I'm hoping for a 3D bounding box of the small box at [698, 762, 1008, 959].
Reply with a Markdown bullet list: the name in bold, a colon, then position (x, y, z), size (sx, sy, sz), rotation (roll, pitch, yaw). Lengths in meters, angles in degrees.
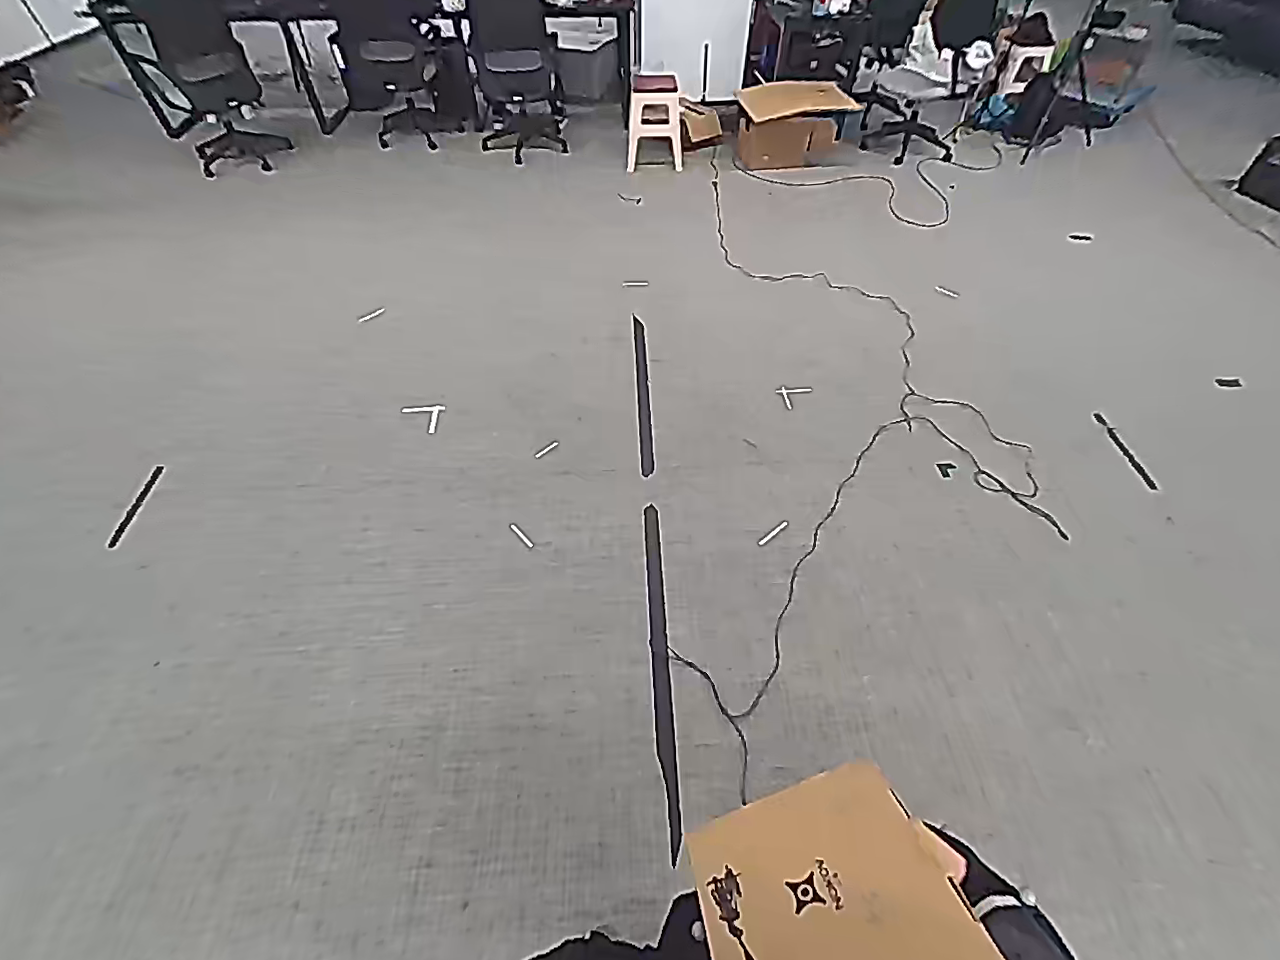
- **small box**: position (0.165, 0.373, 0.425), size (0.179, 0.176, 0.168), rotation (-22, 16, 1)
